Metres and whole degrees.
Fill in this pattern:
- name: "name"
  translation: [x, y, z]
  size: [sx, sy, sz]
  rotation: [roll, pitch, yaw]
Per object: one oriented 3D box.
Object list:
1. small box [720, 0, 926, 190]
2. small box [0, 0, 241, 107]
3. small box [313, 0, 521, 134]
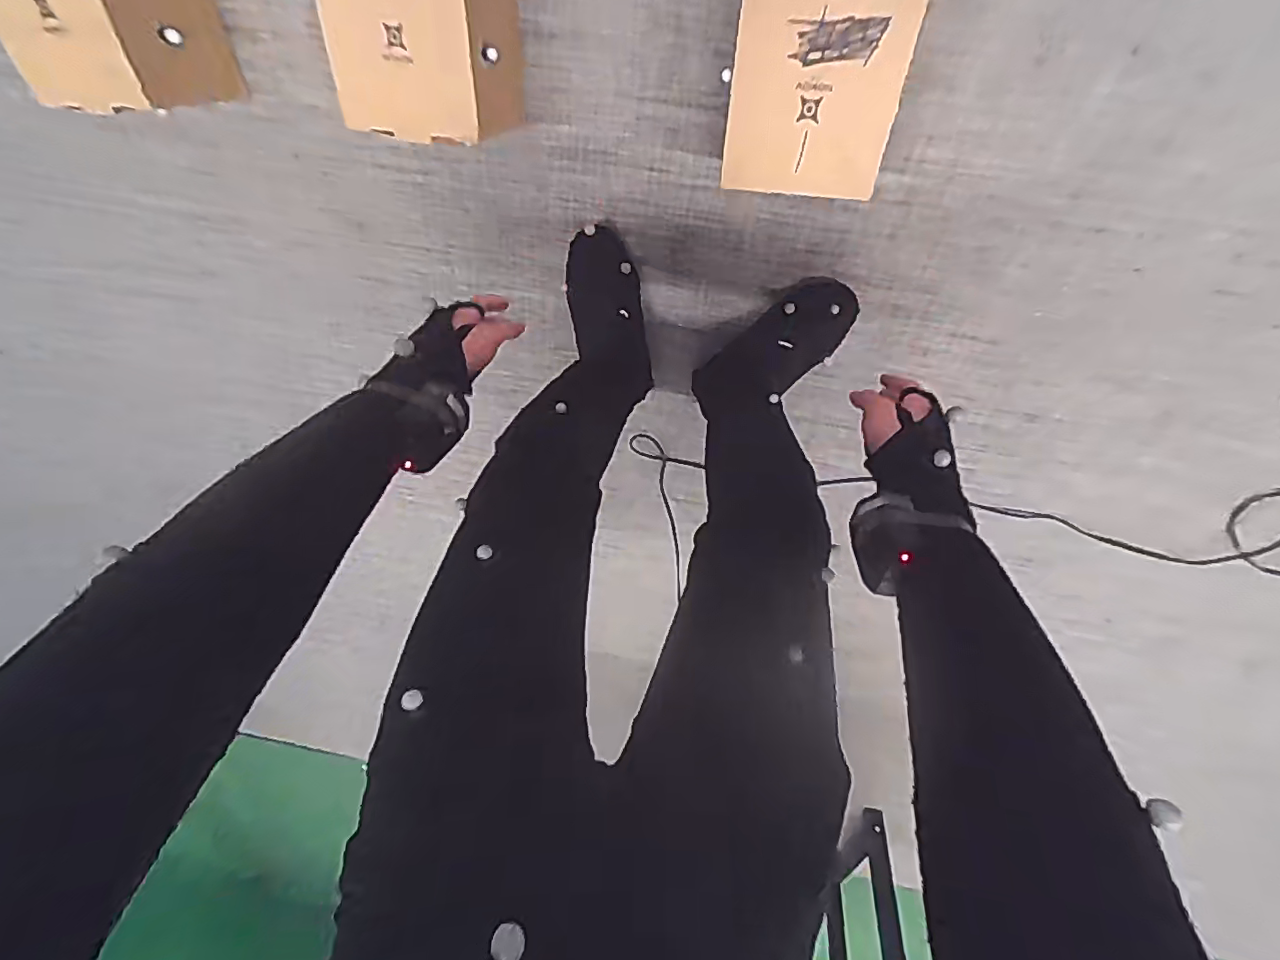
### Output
- name: "small box"
  translation: [0.185, -0.439, 0.590]
  size: [0.168, 0.176, 0.179]
  rotation: [9, 132, 7]
- name: "small box"
  translation: [-0.656, -0.582, 0.672]
  size: [0.168, 0.176, 0.179]
  rotation: [6, 131, 8]
- name: "small box"
  translation: [-0.246, -0.522, 0.627]
  size: [0.168, 0.176, 0.179]
  rotation: [8, 130, 5]
